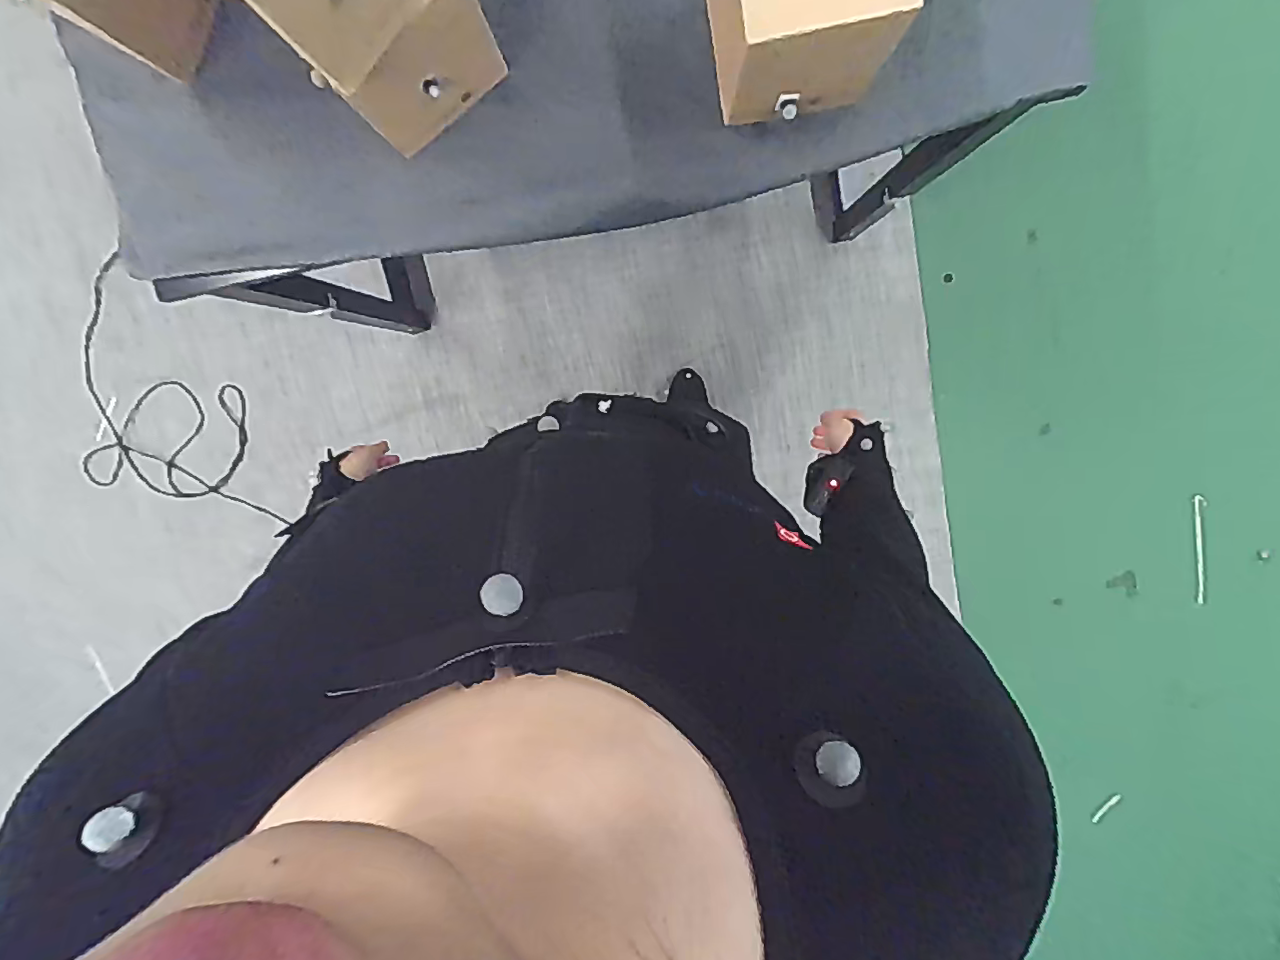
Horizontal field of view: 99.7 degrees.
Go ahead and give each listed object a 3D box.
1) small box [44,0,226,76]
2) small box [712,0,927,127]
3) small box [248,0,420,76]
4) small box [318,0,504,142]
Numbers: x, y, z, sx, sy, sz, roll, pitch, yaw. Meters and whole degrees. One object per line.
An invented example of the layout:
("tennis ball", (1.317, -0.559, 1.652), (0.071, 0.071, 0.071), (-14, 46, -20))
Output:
("small box", (-0.592, -0.585, 0.574), (0.179, 0.176, 0.168), (29, 100, -4))
("small box", (0.171, -0.514, 0.565), (0.168, 0.176, 0.179), (-10, 99, 4))
("small box", (-0.282, -0.468, 0.421), (0.179, 0.176, 0.168), (42, 99, -5))
("small box", (-0.274, -0.504, 0.580), (0.168, 0.176, 0.179), (-36, 97, 7))
